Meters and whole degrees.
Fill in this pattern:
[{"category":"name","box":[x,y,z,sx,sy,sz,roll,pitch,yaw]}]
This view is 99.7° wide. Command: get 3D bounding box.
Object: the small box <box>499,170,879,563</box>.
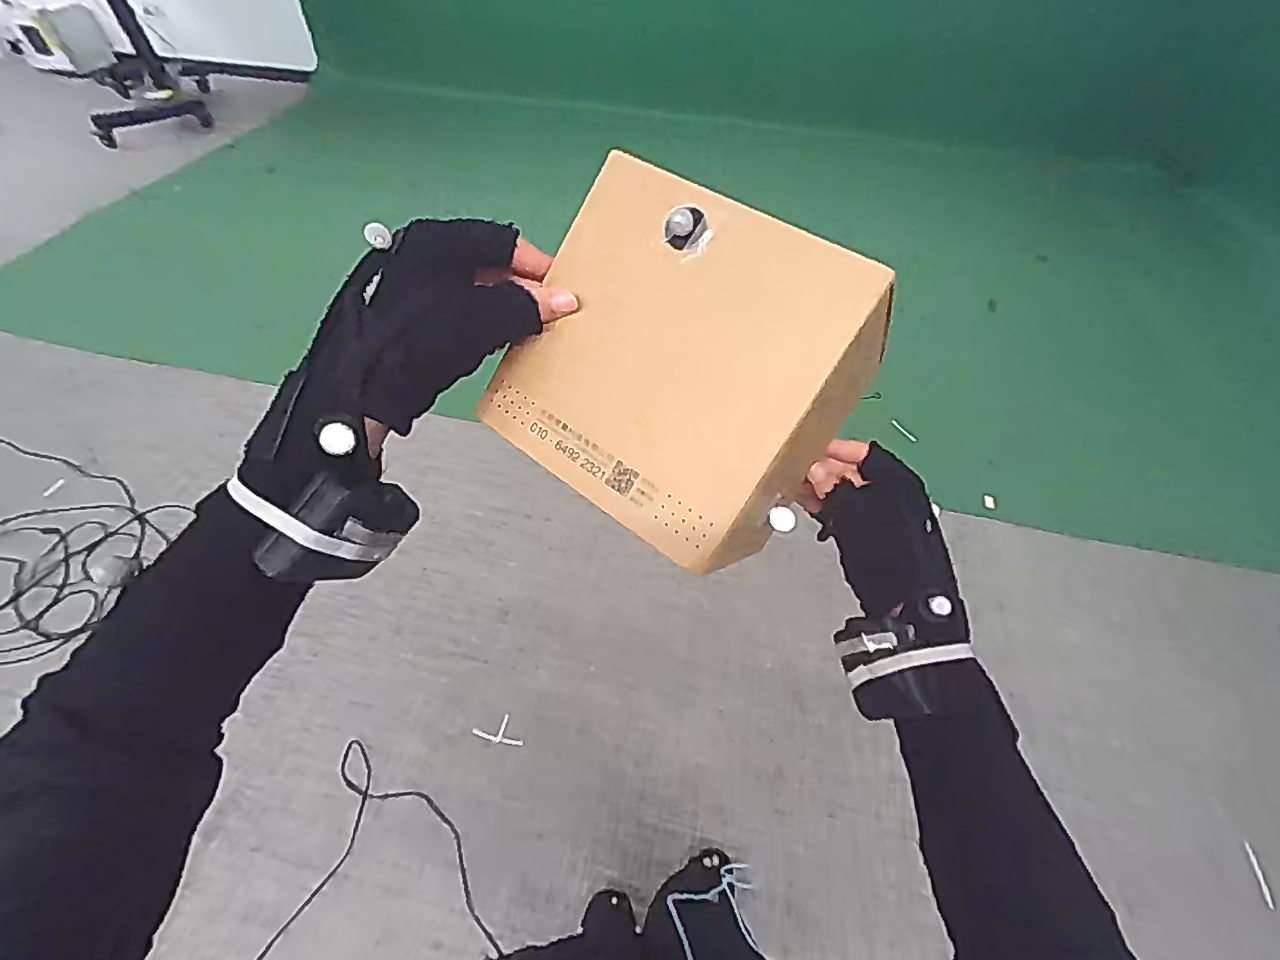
[{"category":"small box","box":[0.039,-0.060,0.368,0.168,0.179,0.176,33,99,21]}]
